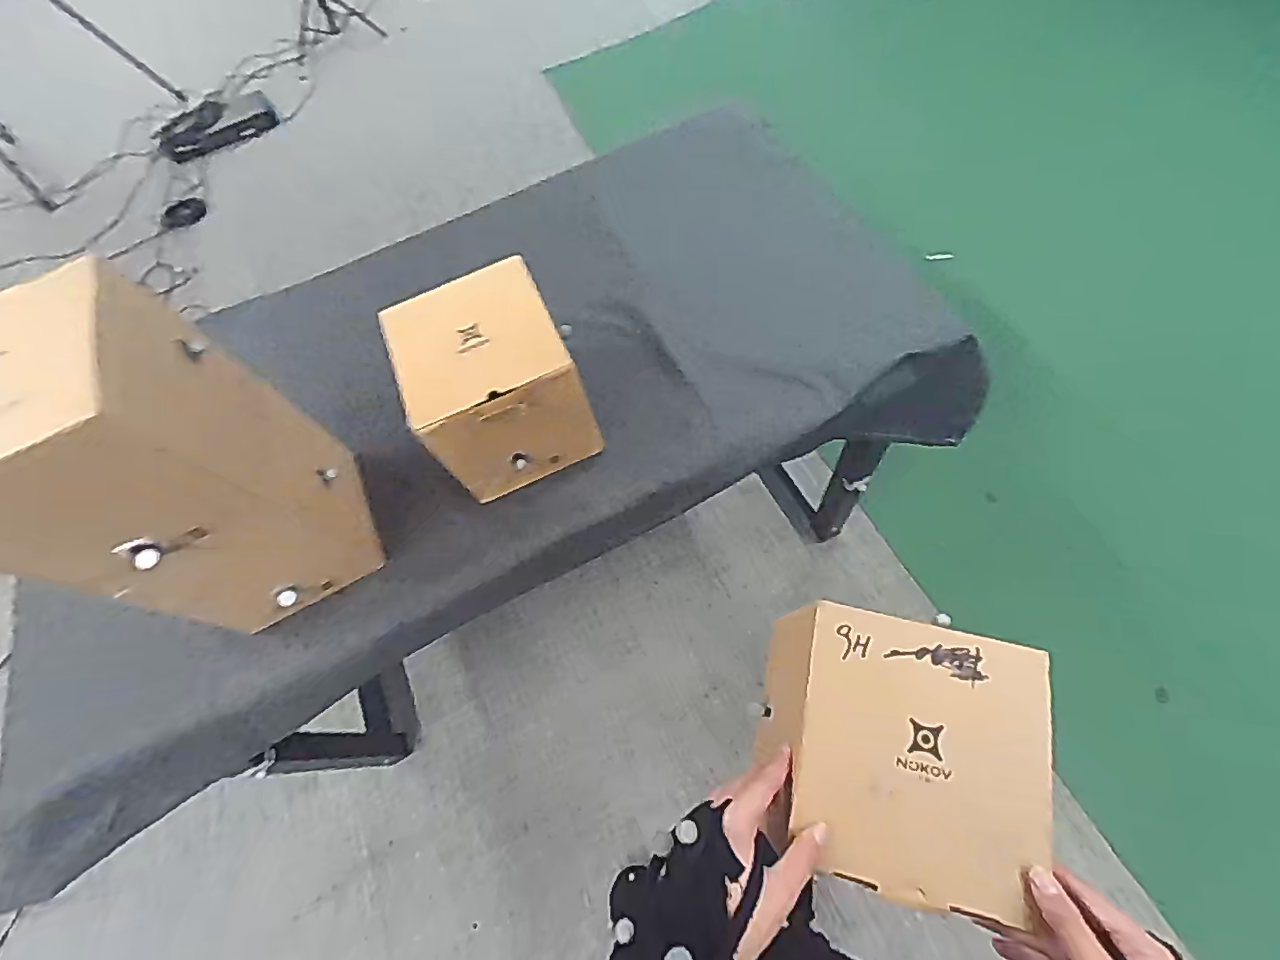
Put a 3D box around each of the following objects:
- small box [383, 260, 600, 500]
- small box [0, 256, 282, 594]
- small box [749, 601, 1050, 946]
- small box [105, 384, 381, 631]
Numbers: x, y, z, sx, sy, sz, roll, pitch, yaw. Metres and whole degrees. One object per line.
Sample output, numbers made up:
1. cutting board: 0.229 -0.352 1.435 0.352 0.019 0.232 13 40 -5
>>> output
1. small box: -0.161 -0.107 0.621 0.168 0.176 0.179 -25 63 -5
2. small box: -0.434 -0.034 0.438 0.168 0.176 0.179 -29 64 -5
3. small box: 0.189 0.211 0.435 0.168 0.176 0.179 12 71 7
4. small box: -0.414 0.037 0.582 0.168 0.176 0.179 -28 64 -6
